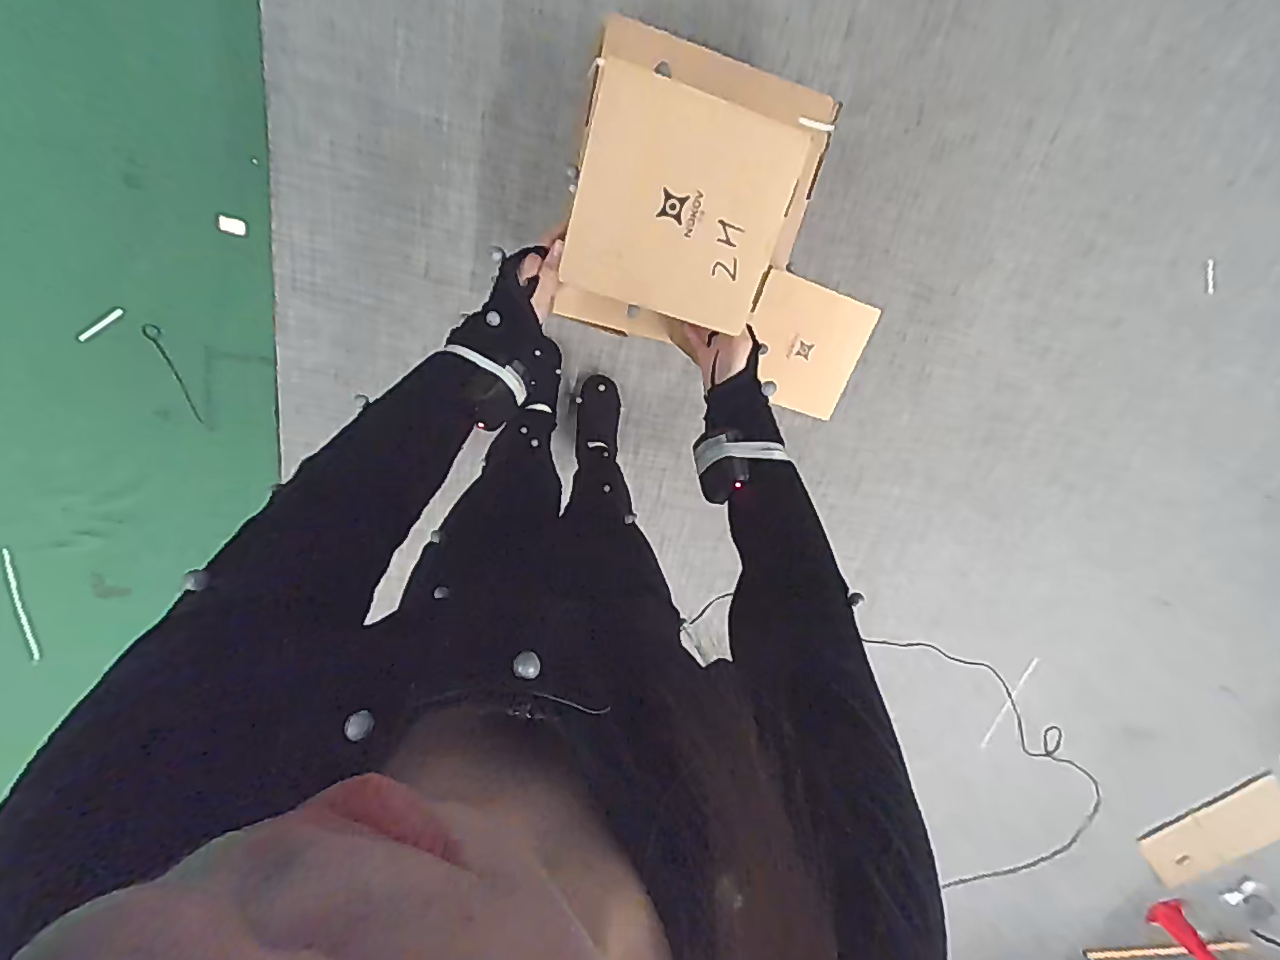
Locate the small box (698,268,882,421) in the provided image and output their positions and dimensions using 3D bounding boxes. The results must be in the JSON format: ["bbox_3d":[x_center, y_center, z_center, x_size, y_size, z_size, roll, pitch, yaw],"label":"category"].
[{"bbox_3d":[0.208,-0.208,0.800,0.179,0.176,0.168,15,111,-15],"label":"small box"}]

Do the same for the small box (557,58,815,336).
[{"bbox_3d":[0.028,-0.255,0.518,0.179,0.176,0.168,14,114,-12],"label":"small box"}]

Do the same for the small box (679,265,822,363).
[{"bbox_3d":[0.178,-0.284,0.941,0.168,0.176,0.179,14,111,-15],"label":"small box"}]
